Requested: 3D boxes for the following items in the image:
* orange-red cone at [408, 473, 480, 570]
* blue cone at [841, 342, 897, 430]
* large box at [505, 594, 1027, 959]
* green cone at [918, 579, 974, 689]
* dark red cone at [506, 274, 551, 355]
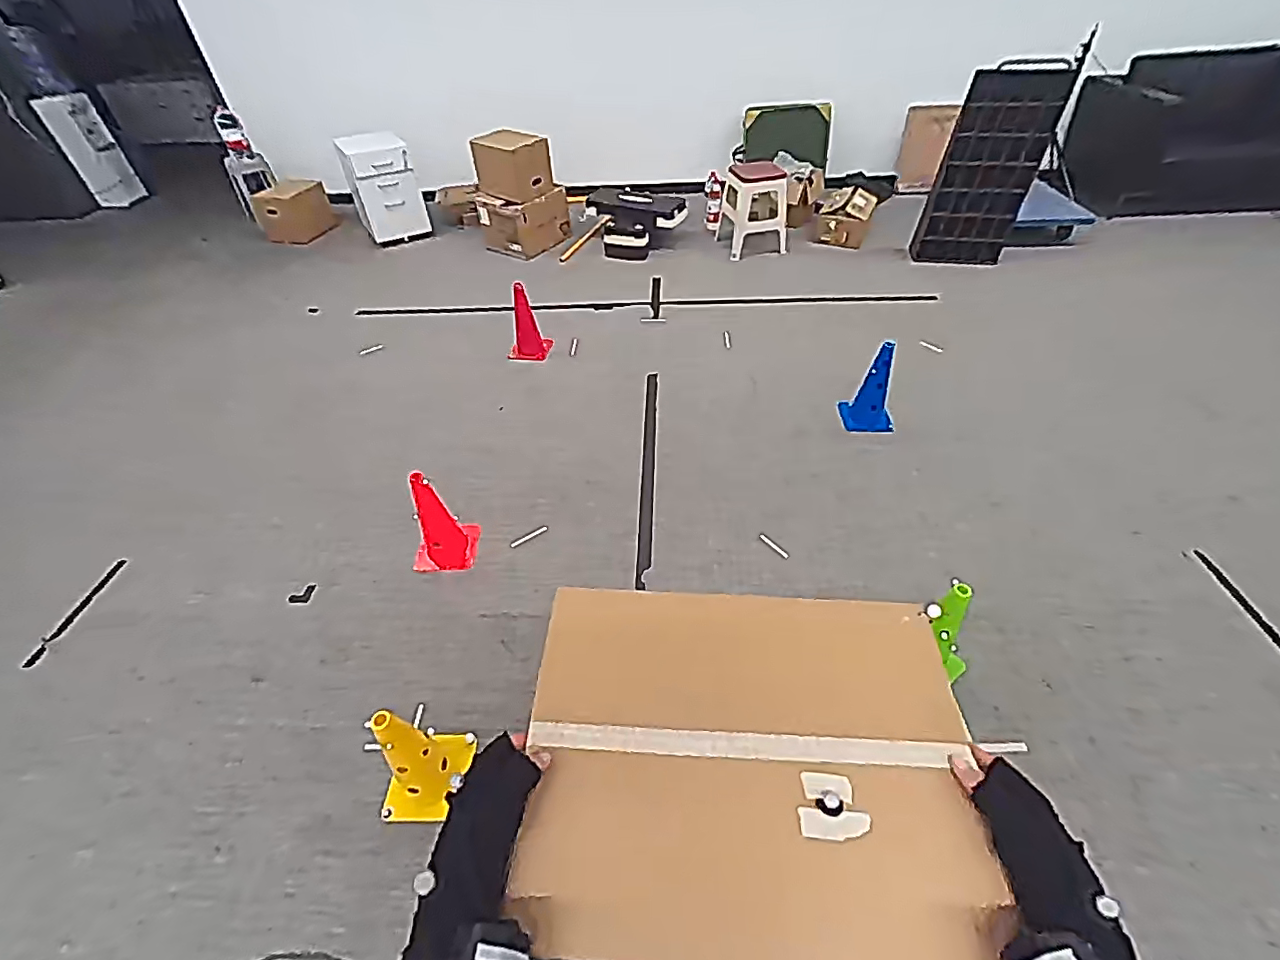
[{"bbox_3d":[-0.683,0.115,1.782,0.198,0.360,0.199,-3,46,2],"label":"orange-red cone"},{"bbox_3d":[0.974,-0.396,2.226,0.192,0.380,0.193,3,45,4],"label":"blue cone"},{"bbox_3d":[0.098,0.349,0.614,0.408,0.320,0.320,3,49,3],"label":"large box"},{"bbox_3d":[0.789,0.386,1.428,0.202,0.368,0.200,-27,51,-24],"label":"green cone"},{"bbox_3d":[-0.577,-0.821,2.679,0.201,0.394,0.202,4,46,6],"label":"dark red cone"}]
